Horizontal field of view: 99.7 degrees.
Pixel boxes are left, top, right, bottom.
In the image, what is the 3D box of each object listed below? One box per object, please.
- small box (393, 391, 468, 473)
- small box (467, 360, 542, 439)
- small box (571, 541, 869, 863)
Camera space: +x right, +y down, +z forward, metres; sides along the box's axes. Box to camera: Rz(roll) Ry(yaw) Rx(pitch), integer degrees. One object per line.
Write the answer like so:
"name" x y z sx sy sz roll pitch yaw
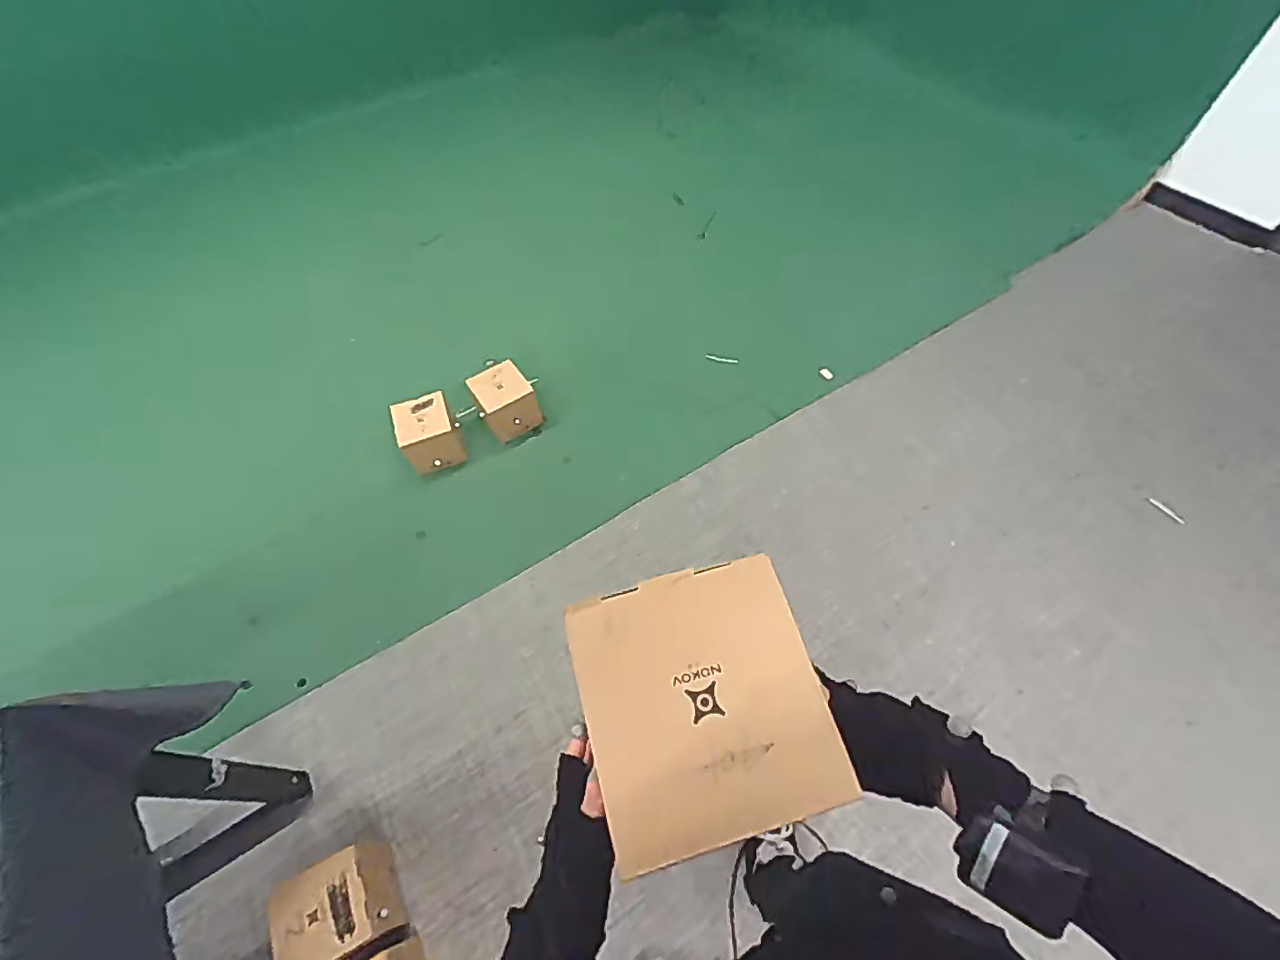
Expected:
"small box" -0.673 -0.152 1.740 0.168 0.176 0.179 -19 60 -9
"small box" -0.445 -0.259 1.799 0.168 0.176 0.179 -30 61 -17
"small box" 0.044 0.173 0.441 0.168 0.176 0.179 -13 66 -8
